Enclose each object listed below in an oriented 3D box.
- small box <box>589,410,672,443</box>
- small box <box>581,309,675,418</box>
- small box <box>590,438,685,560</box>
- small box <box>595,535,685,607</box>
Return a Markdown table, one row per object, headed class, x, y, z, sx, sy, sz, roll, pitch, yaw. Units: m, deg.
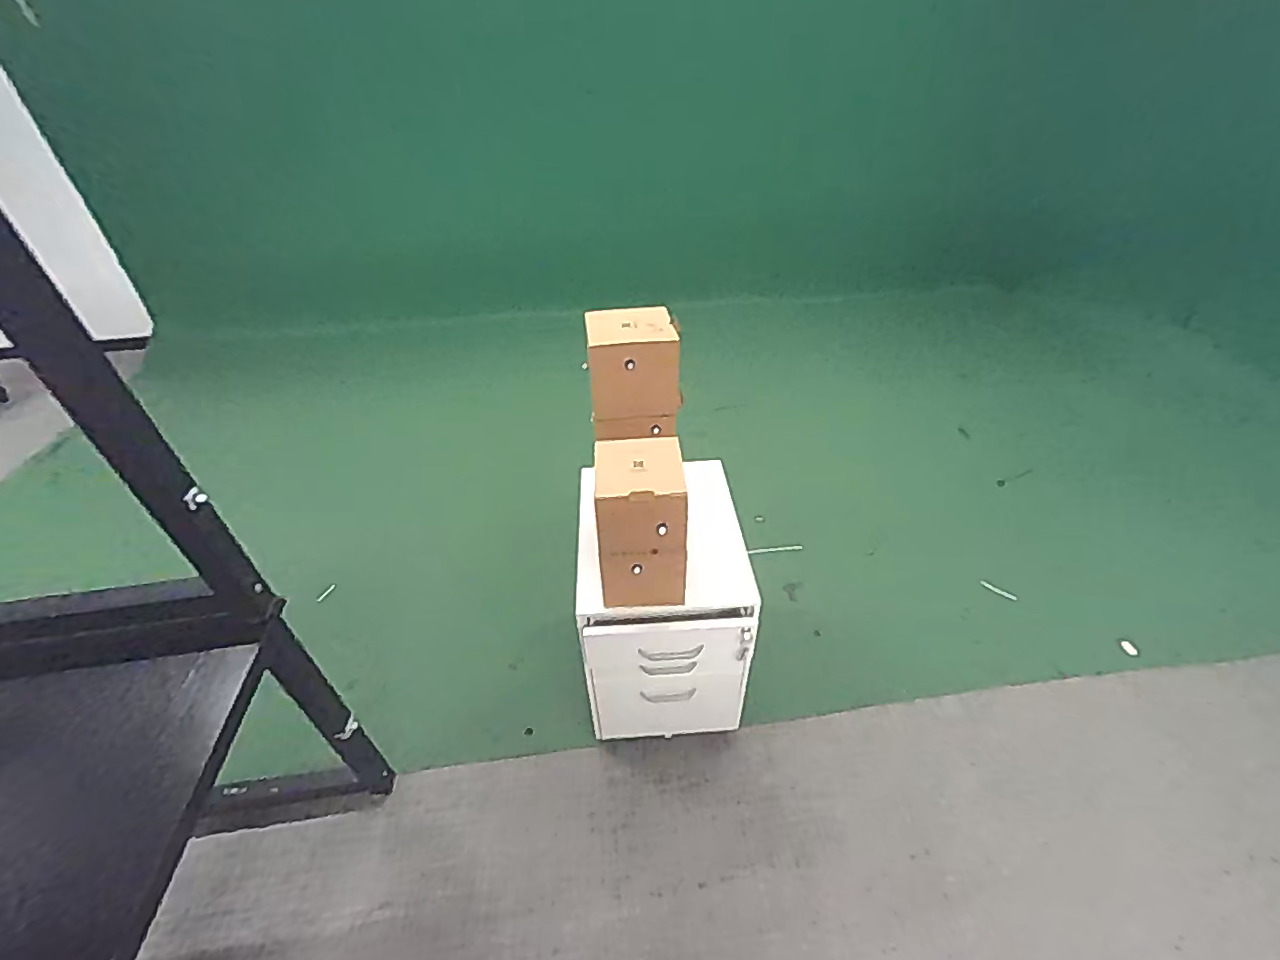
| class | x | y | z | sx | sy | sz | roll | pitch | yaw |
| --- | --- | --- | --- | --- | --- | --- | --- | --- | --- |
| small box | -0.019 | -0.116 | 1.229 | 0.179 | 0.176 | 0.168 | 0 | 38 | 0 |
| small box | -0.026 | -0.240 | 1.122 | 0.179 | 0.176 | 0.168 | -5 | 40 | -6 |
| small box | -0.006 | 0.040 | 1.032 | 0.168 | 0.176 | 0.179 | -3 | 38 | -3 |
| small box | 0.002 | 0.156 | 1.147 | 0.179 | 0.176 | 0.168 | -1 | 38 | 0 |
